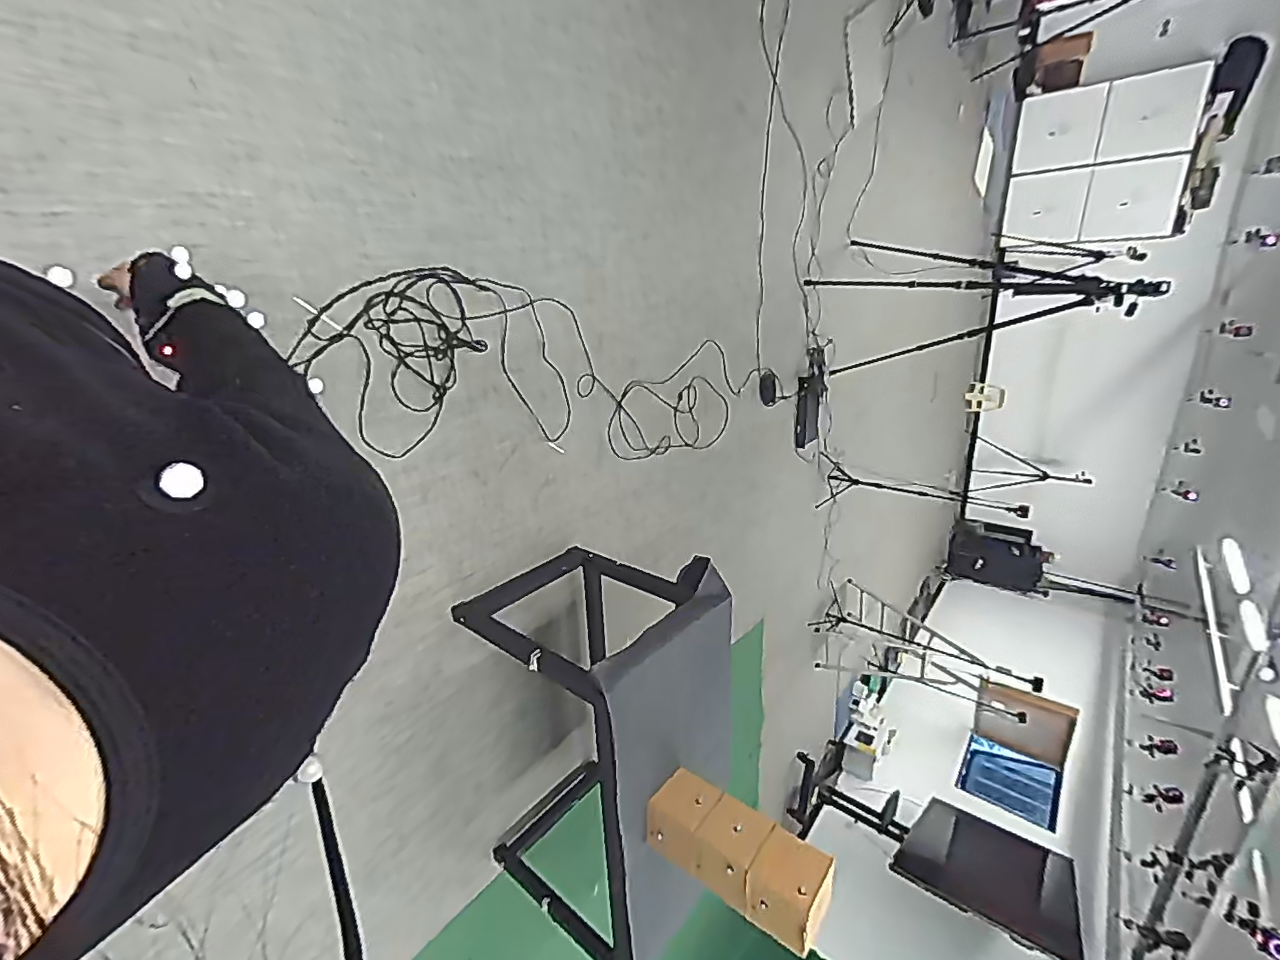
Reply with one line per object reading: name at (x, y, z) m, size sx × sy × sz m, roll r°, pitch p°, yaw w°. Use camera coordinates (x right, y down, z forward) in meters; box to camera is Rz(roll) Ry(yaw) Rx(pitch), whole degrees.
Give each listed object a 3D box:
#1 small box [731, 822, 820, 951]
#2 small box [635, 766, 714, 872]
small box at (0.360, 1.065, 1.435) m, size 0.179 × 0.176 × 0.168 m, roll -23°, pitch 119°, yaw -47°
small box at (0.103, 1.009, 1.629) m, size 0.179 × 0.176 × 0.168 m, roll -17°, pitch 113°, yaw -49°
